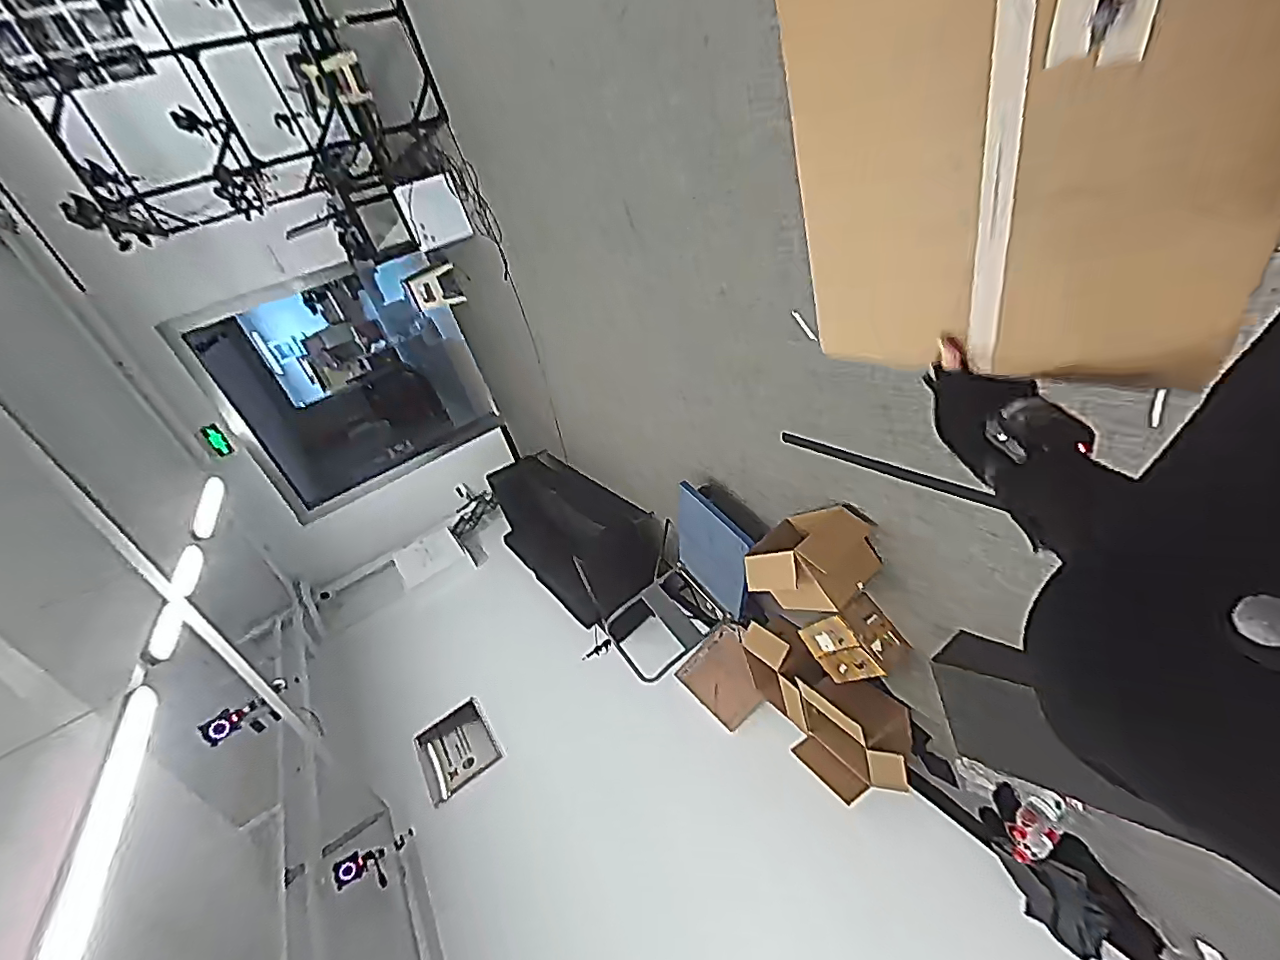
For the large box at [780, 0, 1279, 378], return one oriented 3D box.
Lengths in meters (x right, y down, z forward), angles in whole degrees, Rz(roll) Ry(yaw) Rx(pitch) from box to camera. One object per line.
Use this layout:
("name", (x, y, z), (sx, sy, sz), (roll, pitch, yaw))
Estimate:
("large box", (0.349, -0.348, 0.452), (0.320, 0.320, 0.408), (15, 145, 40))
